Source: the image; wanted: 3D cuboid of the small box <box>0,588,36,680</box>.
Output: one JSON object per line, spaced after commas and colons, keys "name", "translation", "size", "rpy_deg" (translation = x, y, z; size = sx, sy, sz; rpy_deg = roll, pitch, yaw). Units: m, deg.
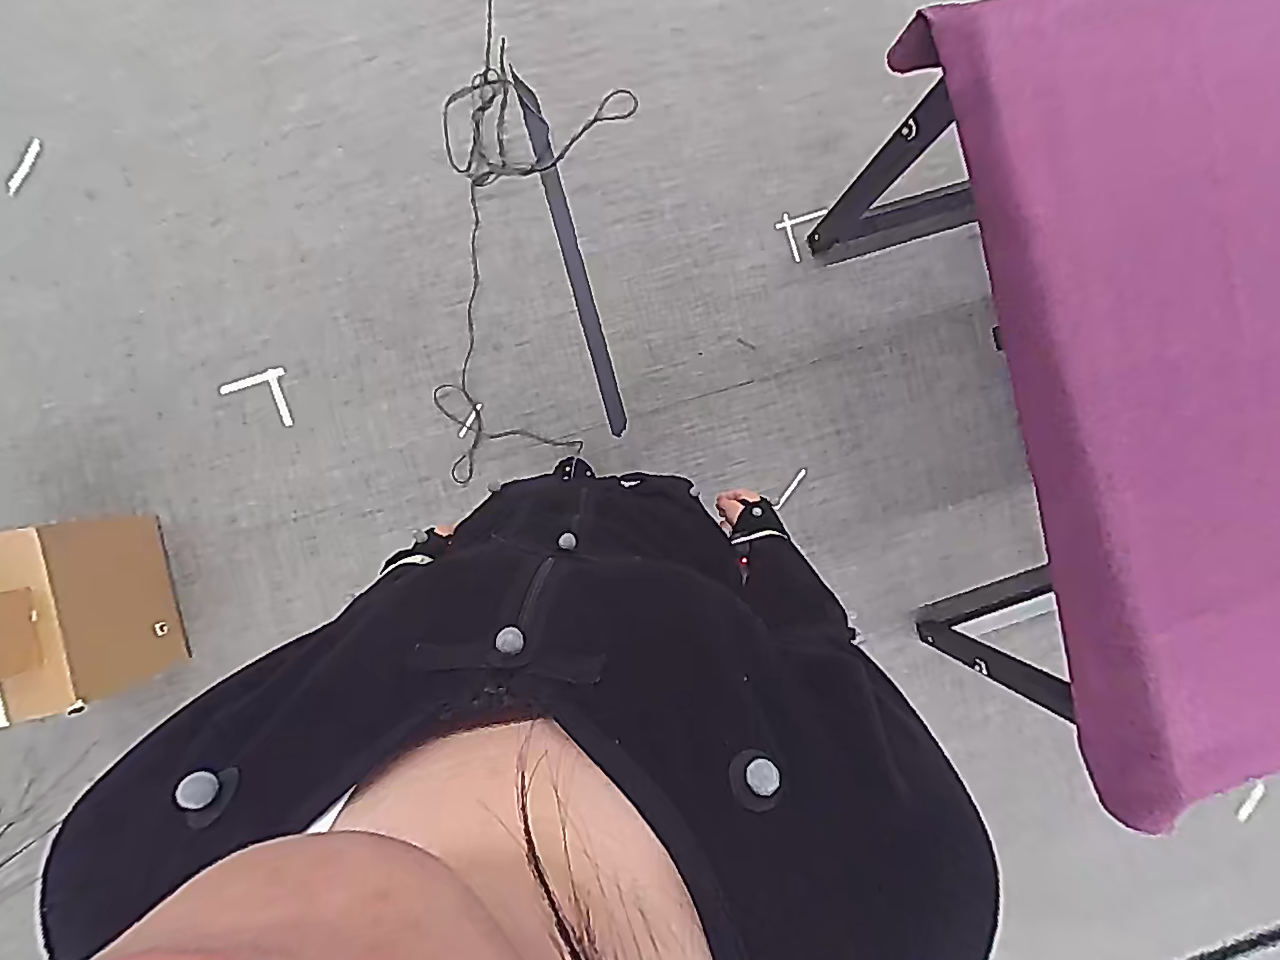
{"name": "small box", "translation": [-1.345, 0.322, 1.049], "size": [0.168, 0.176, 0.179], "rpy_deg": [-9, 91, -3]}
